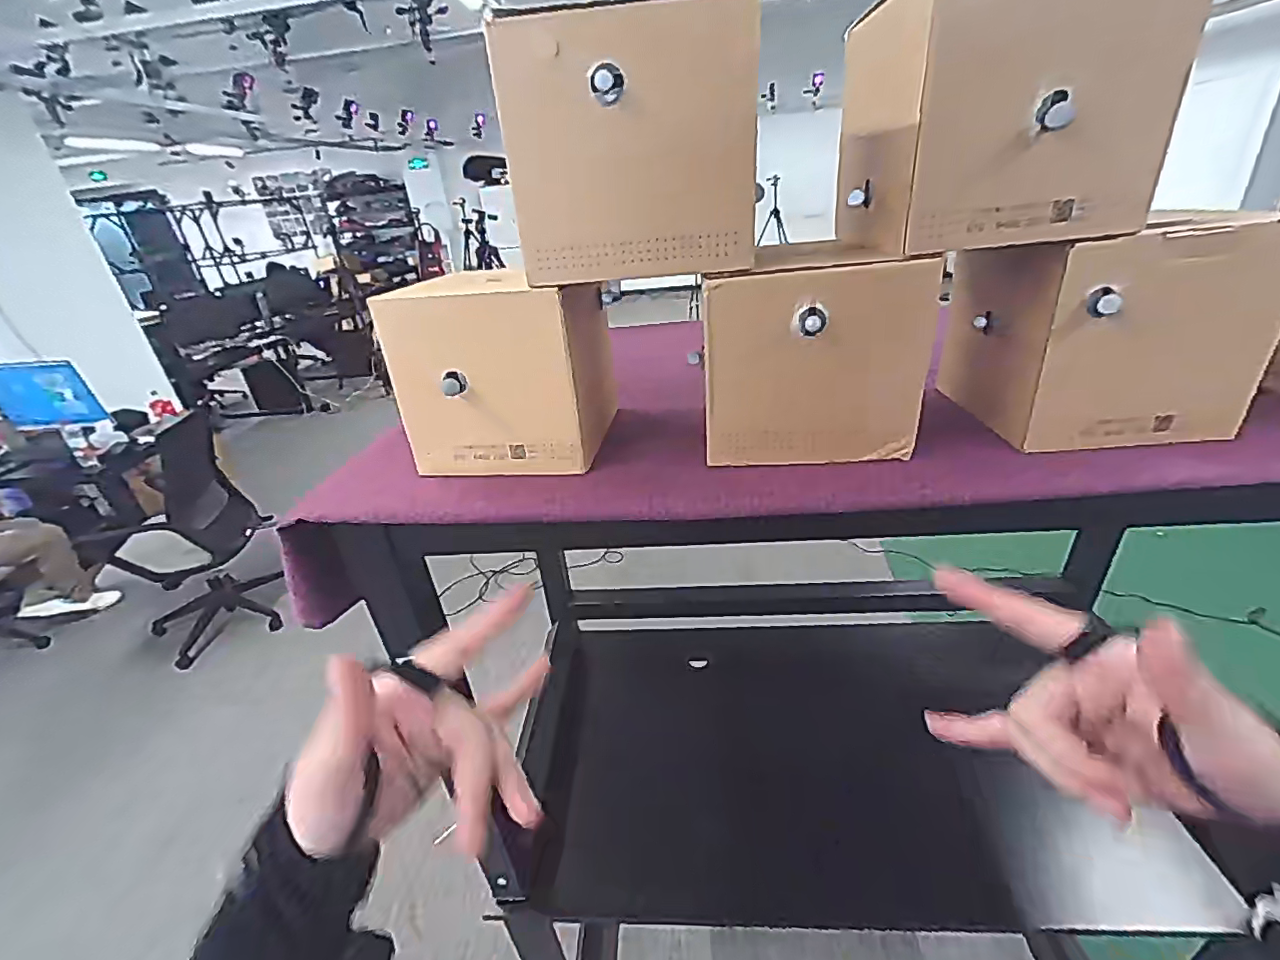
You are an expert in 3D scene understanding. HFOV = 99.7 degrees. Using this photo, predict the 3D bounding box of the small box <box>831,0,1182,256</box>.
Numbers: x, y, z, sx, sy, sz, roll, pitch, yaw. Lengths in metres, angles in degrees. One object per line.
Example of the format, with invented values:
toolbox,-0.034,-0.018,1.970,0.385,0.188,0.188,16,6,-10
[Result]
small box,0.256,-0.275,0.418,0.168,0.176,0.179,-5,28,4

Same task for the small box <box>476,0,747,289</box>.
small box,-0.009,-0.258,0.444,0.179,0.176,0.168,-3,28,4

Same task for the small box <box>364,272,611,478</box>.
small box,-0.128,-0.109,0.539,0.168,0.176,0.179,-2,27,9
